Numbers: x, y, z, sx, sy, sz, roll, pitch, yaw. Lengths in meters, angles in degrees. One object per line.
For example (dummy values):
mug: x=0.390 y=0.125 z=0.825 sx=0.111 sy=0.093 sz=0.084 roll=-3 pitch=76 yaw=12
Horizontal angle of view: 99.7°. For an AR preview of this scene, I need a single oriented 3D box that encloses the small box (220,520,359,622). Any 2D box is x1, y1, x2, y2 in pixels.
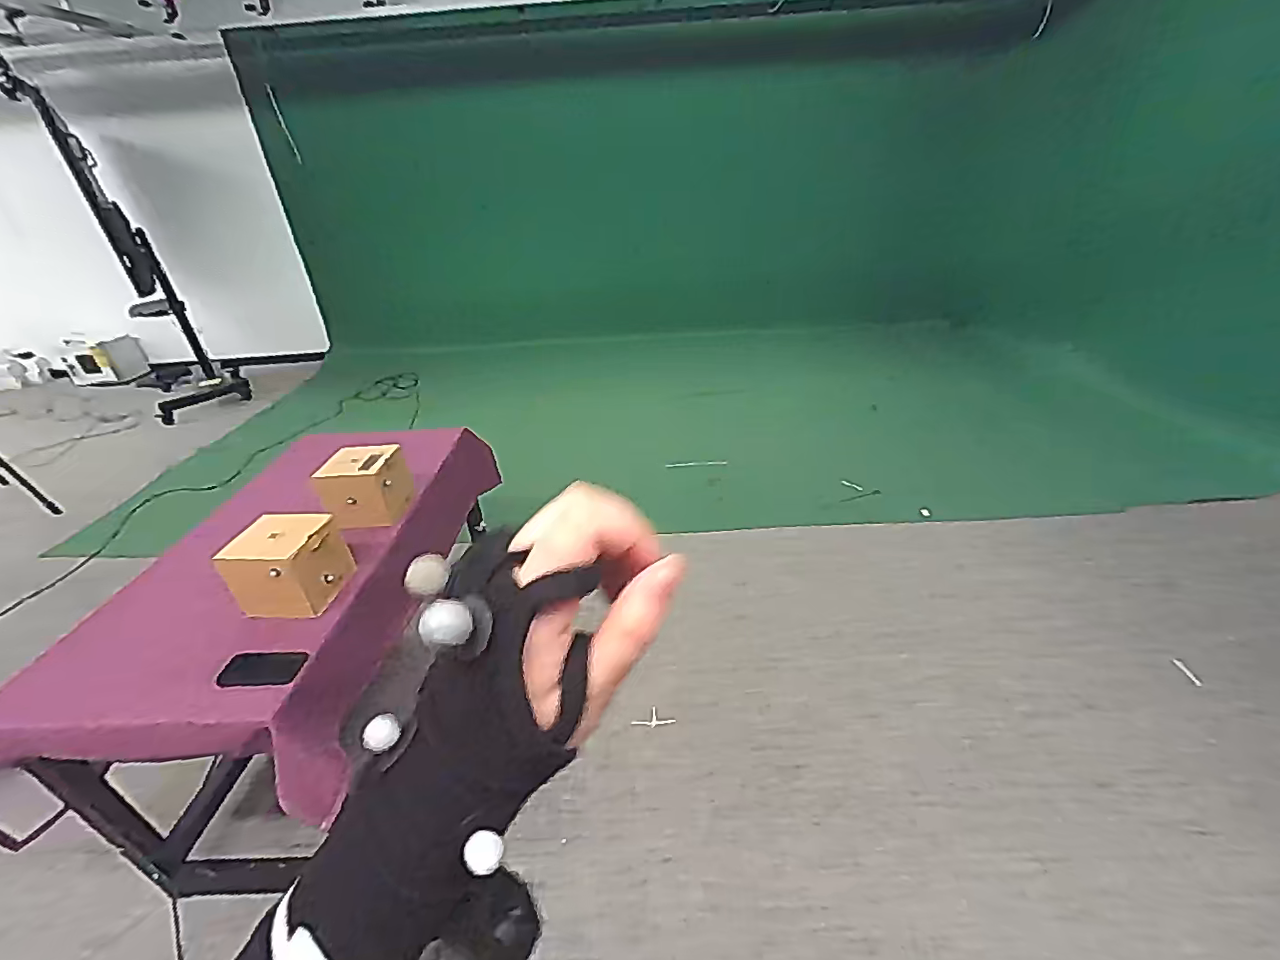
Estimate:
small box: x=-0.783 y=0.206 z=1.229 sx=0.179 sy=0.176 sz=0.168 roll=-1 pitch=31 yaw=6
